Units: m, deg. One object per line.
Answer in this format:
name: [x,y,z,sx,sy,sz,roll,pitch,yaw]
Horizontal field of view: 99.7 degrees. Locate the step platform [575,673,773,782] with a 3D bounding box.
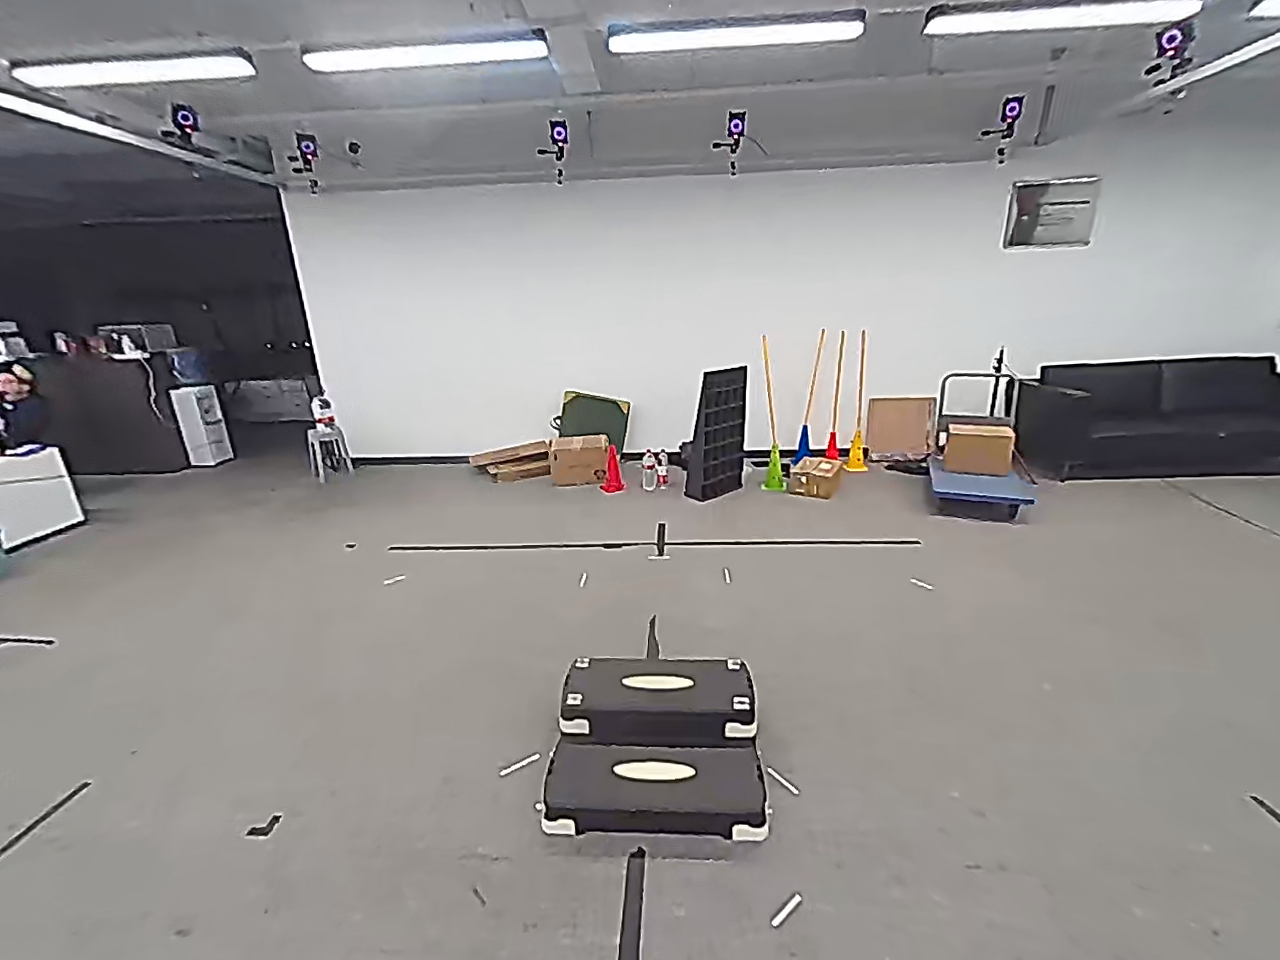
step platform: [0.119,0.857,1.910,0.684,0.204,0.286,0,17,8]
